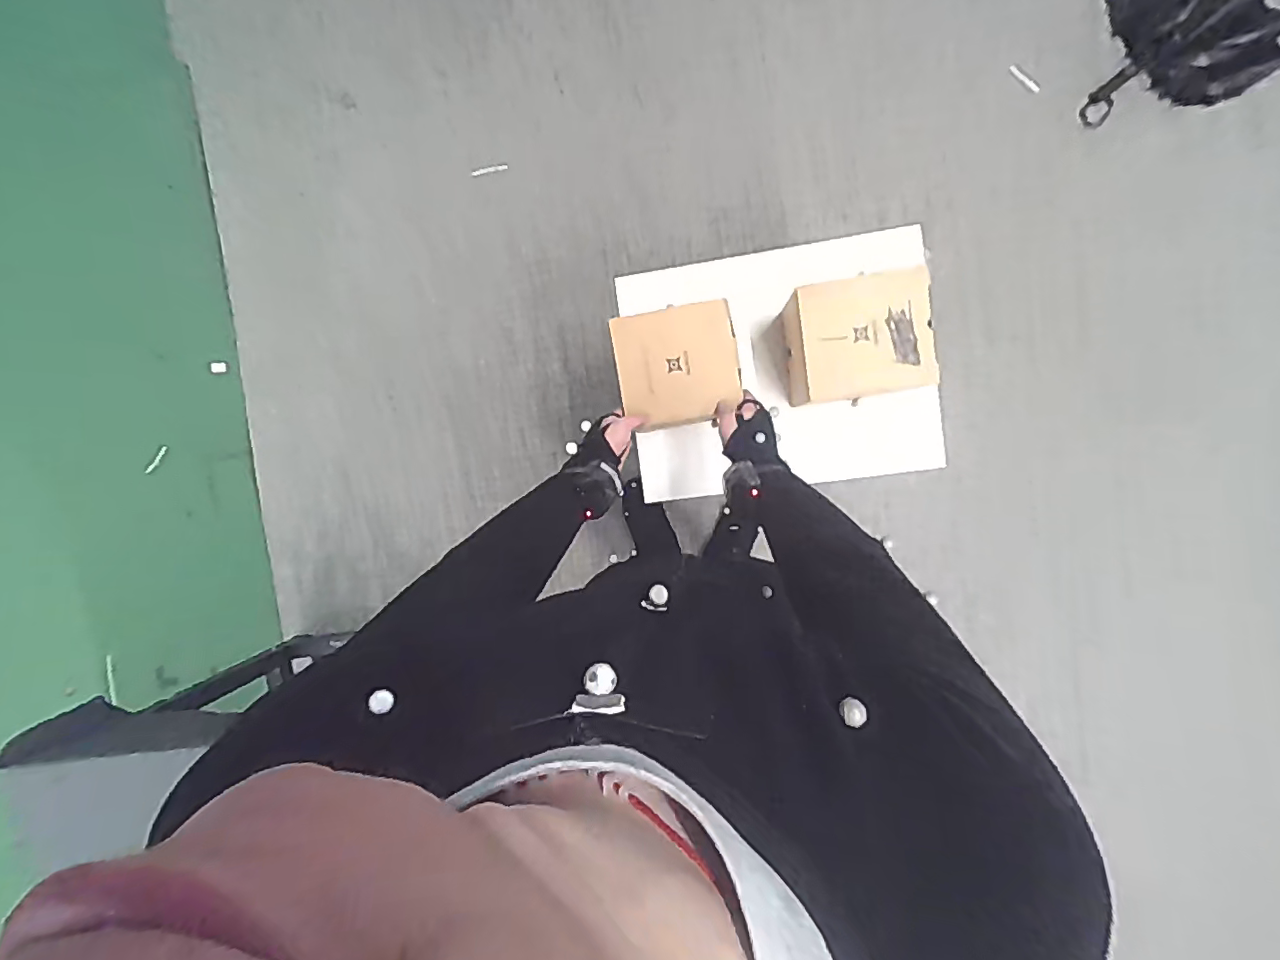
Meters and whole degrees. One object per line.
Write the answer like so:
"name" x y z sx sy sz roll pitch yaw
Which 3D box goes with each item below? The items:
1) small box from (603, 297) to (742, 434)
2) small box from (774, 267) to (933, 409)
"small box" 0.050 -0.167 0.842 0.179 0.176 0.168 -10 92 5
"small box" 0.311 -0.203 0.817 0.179 0.176 0.168 -7 93 6
